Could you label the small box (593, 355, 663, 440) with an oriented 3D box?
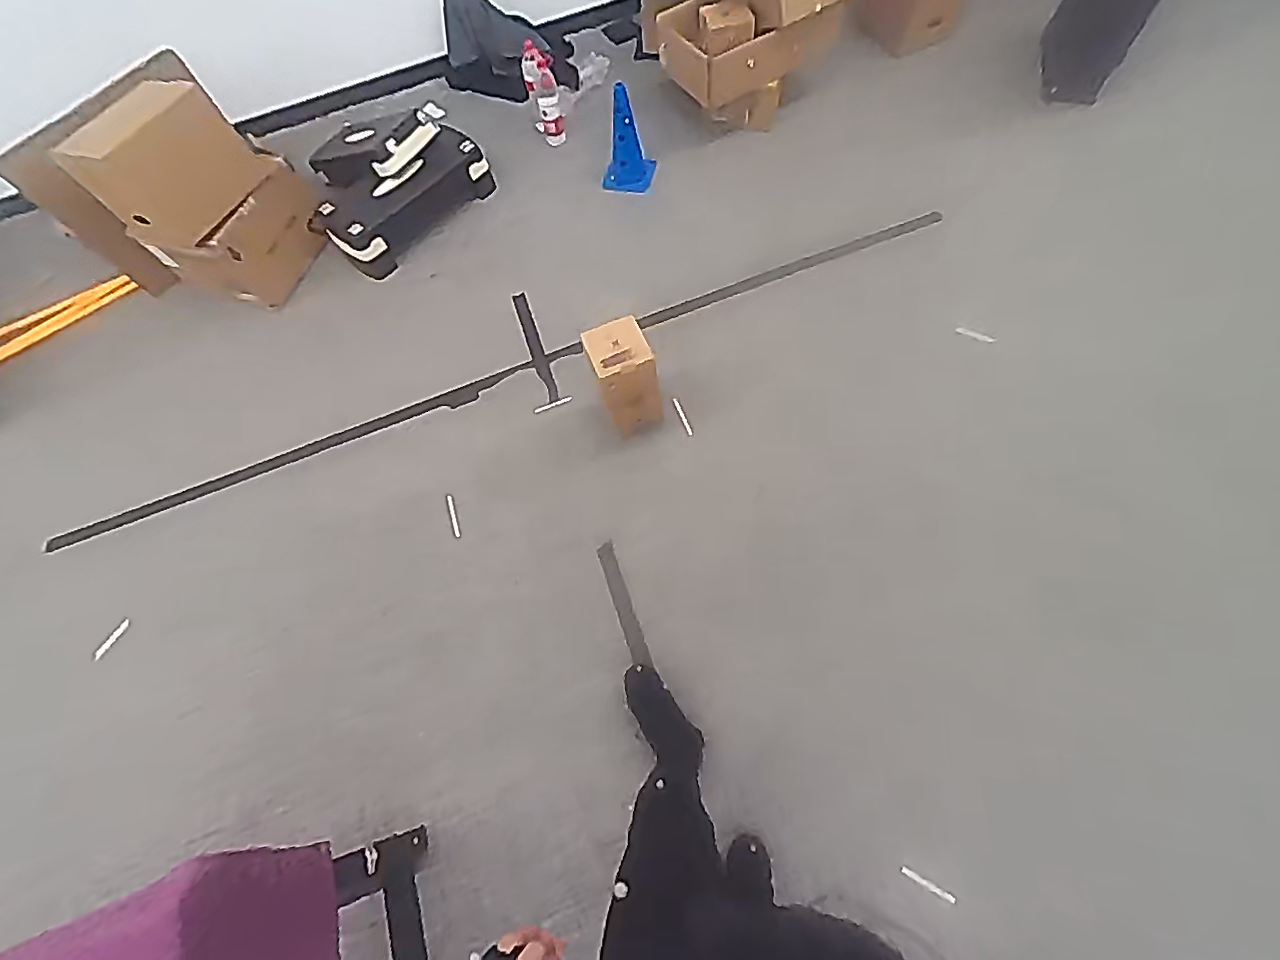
[{"bbox_3d":[-0.036,-0.261,1.735,0.168,0.176,0.179,-24,66,-5],"label":"small box"}]
